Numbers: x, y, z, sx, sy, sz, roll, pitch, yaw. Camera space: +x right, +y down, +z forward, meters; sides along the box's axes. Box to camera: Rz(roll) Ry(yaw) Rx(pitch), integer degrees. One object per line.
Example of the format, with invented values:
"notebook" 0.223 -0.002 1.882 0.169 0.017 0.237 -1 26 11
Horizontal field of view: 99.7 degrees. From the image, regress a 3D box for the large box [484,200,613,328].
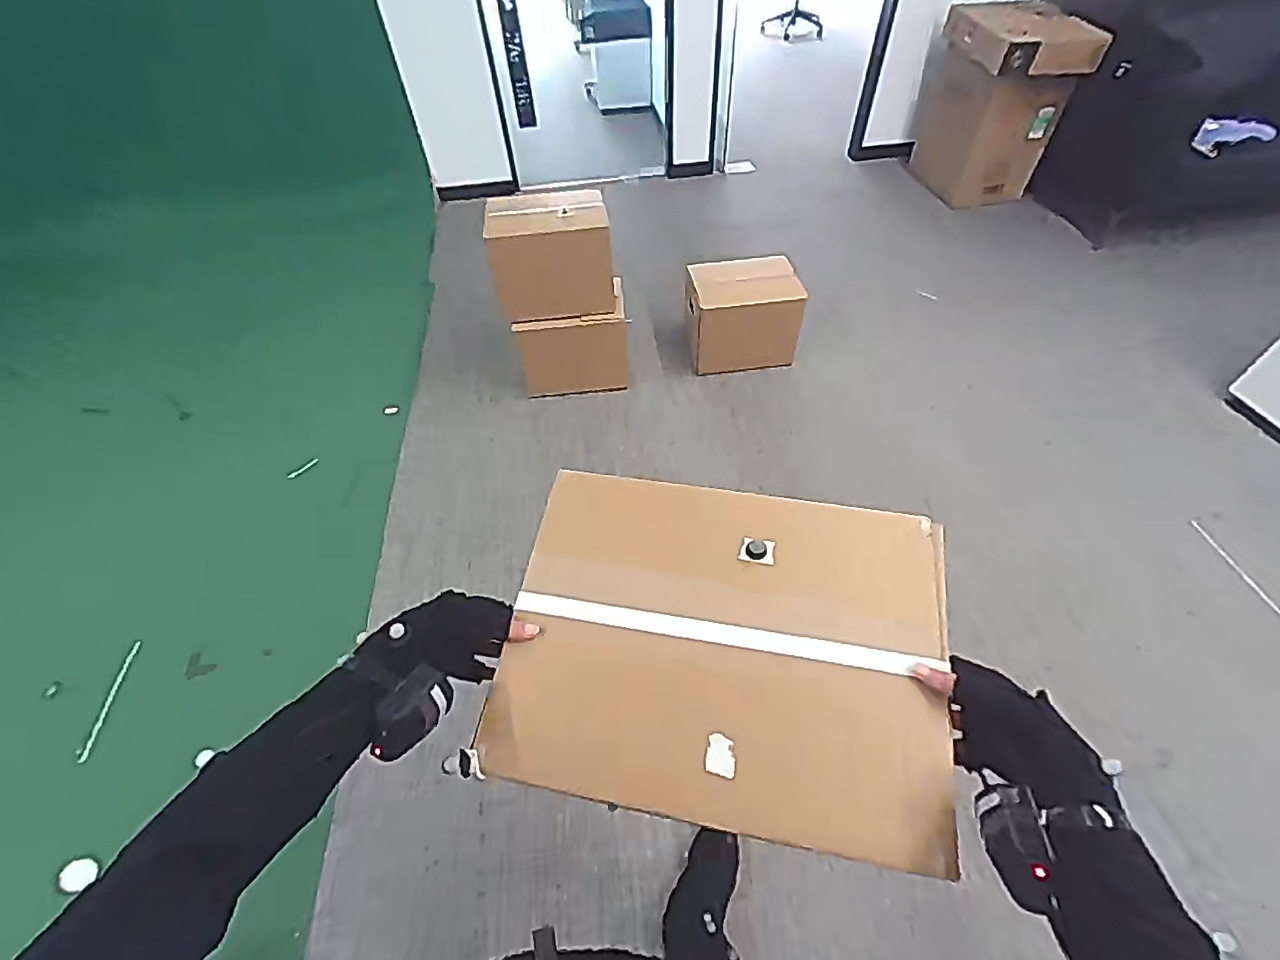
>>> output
"large box" -0.315 -0.767 1.917 0.408 0.320 0.320 -6 47 -4
